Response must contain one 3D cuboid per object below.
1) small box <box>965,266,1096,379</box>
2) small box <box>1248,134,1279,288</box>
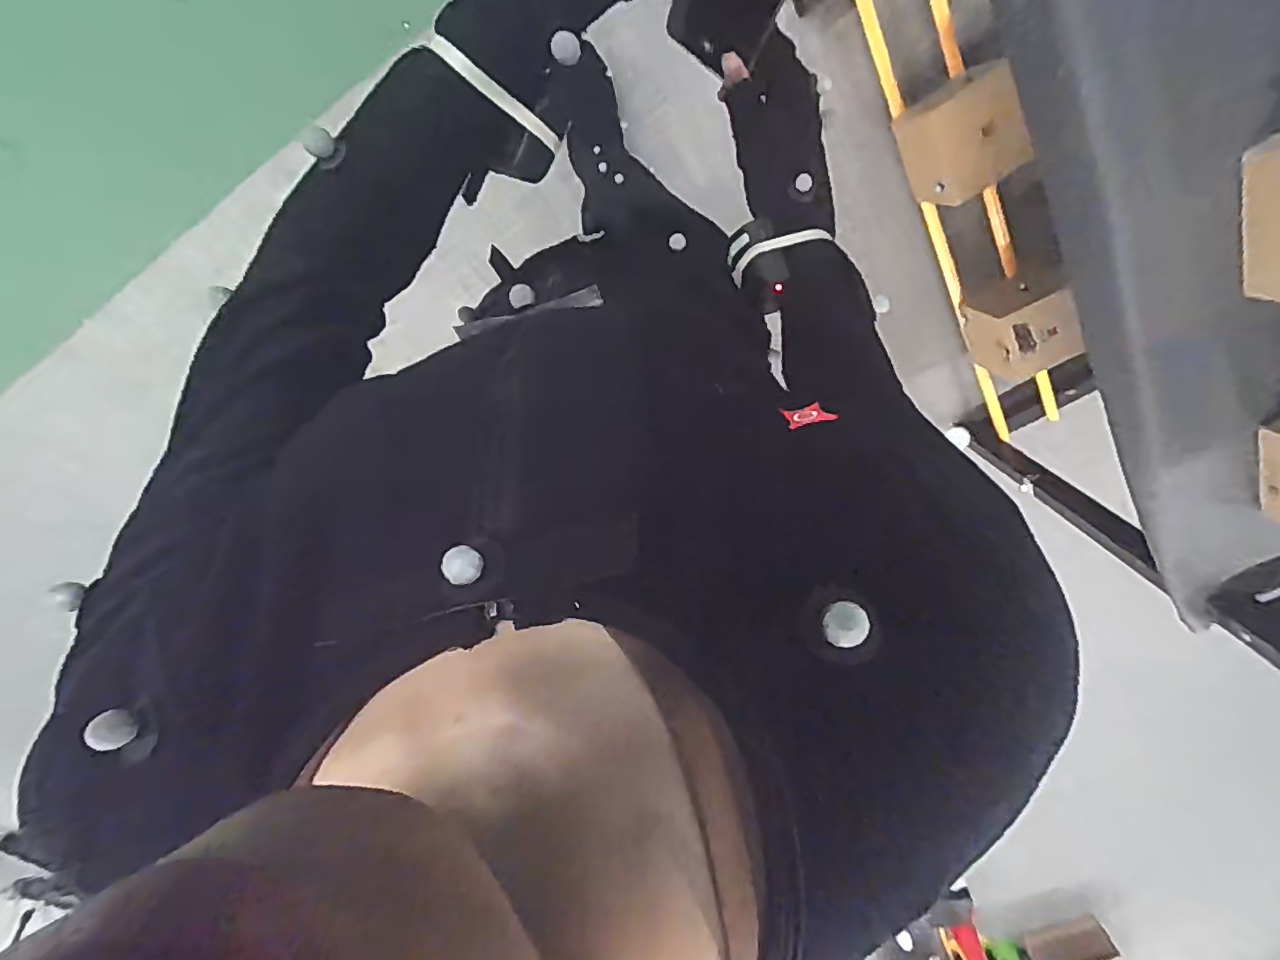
[{"bbox_3d":[0.861,-0.356,1.211,0.179,0.176,0.168,-27,116,12],"label":"small box"},{"bbox_3d":[0.769,-0.292,0.533,0.168,0.176,0.179,-27,116,12],"label":"small box"}]
